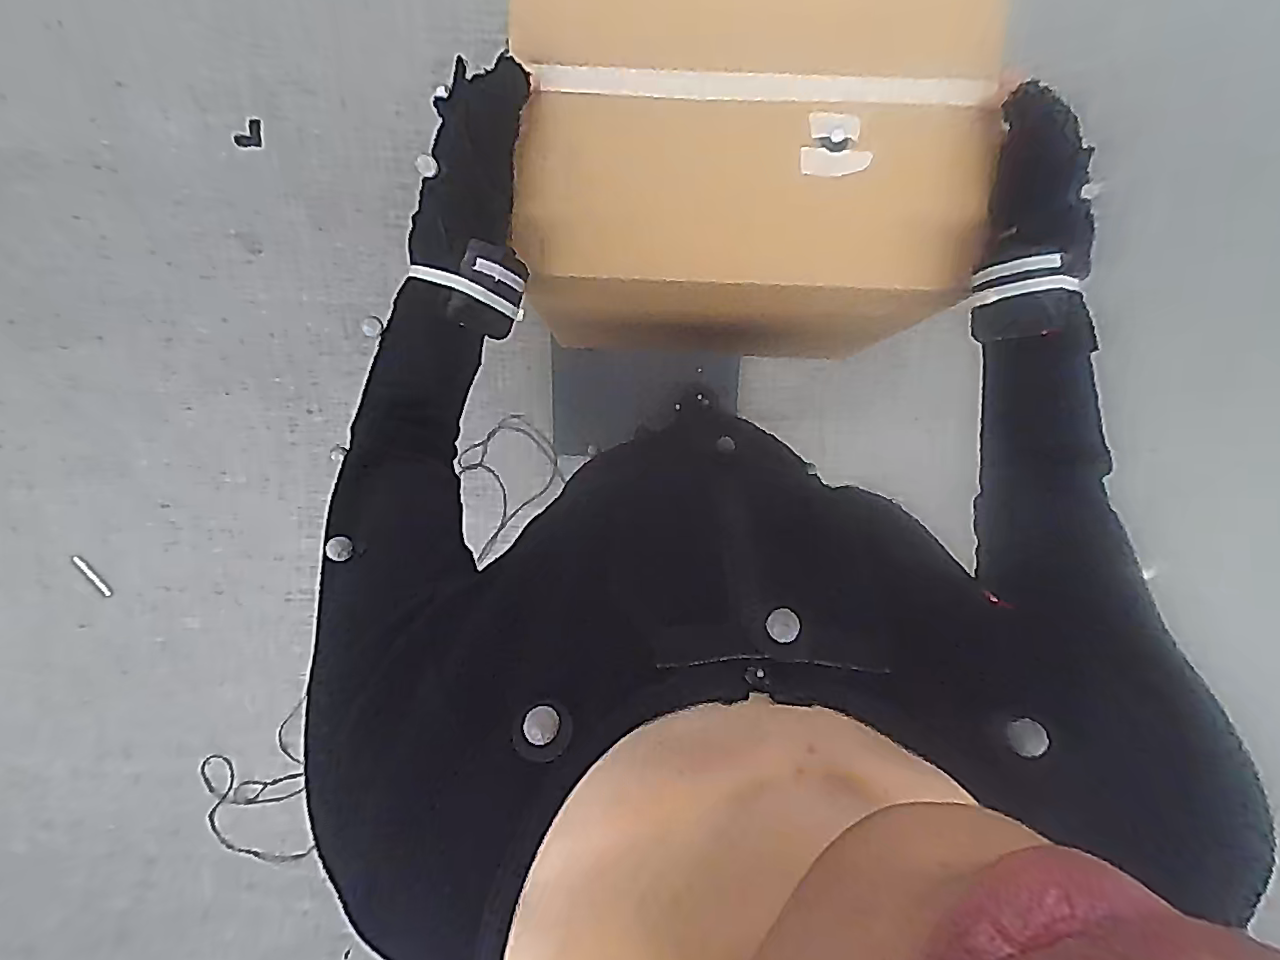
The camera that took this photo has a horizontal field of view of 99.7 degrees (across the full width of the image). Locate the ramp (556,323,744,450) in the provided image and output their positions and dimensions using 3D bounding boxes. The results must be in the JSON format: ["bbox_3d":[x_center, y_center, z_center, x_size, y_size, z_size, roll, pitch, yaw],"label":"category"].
[{"bbox_3d":[0.031,-0.563,1.346,0.509,0.206,0.991,-1,96,-1],"label":"ramp"}]

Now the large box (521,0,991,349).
[{"bbox_3d":[0.096,-0.336,0.611,0.408,0.320,0.320,2,92,0],"label":"large box"}]
